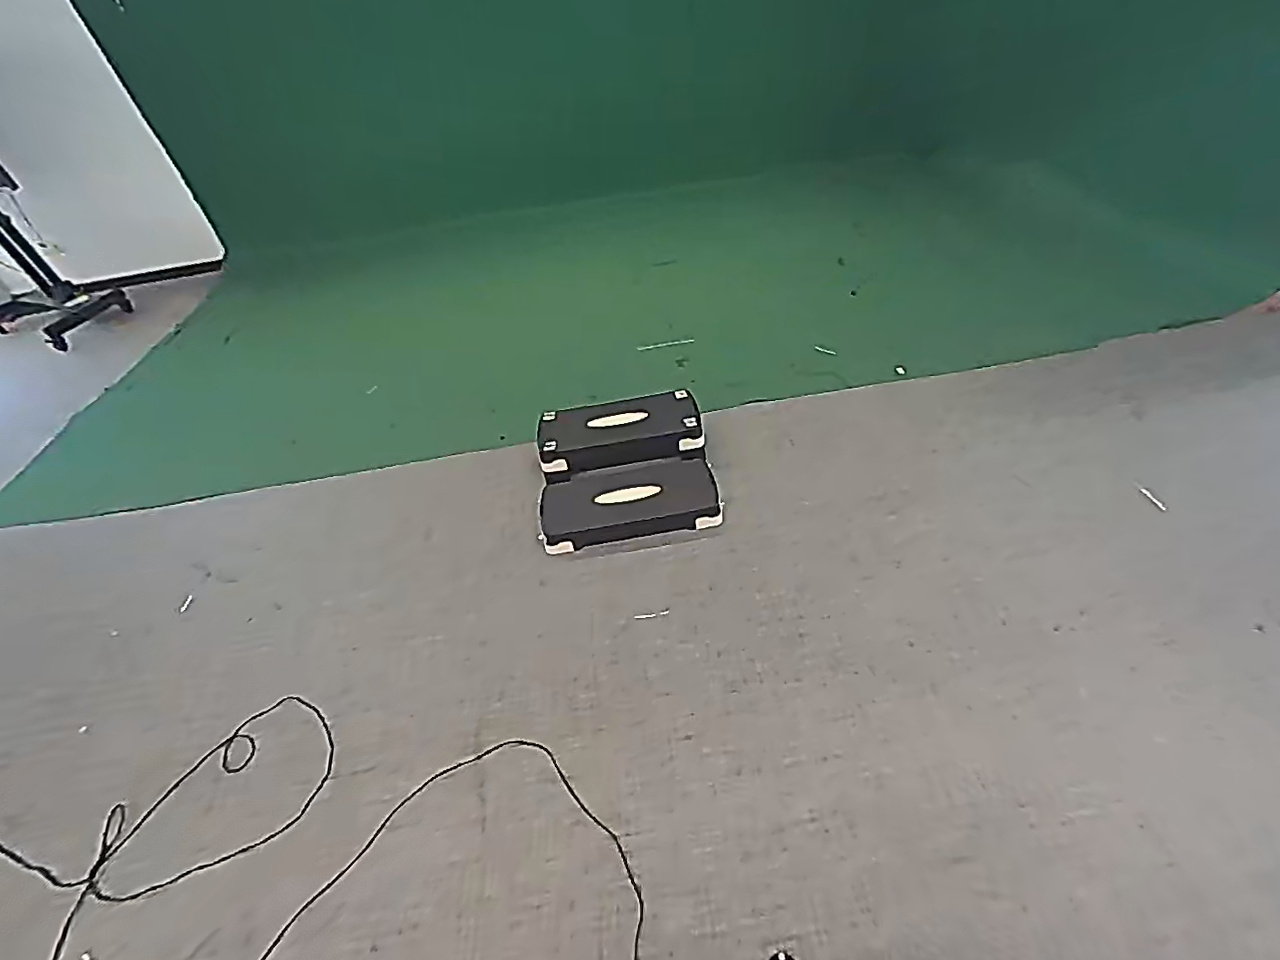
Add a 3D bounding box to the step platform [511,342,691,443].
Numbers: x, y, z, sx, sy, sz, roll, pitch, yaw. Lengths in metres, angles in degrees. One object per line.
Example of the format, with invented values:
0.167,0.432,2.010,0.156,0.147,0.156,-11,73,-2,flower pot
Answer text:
-0.144,-0.345,2.126,0.684,0.204,0.286,-10,44,0,step platform
